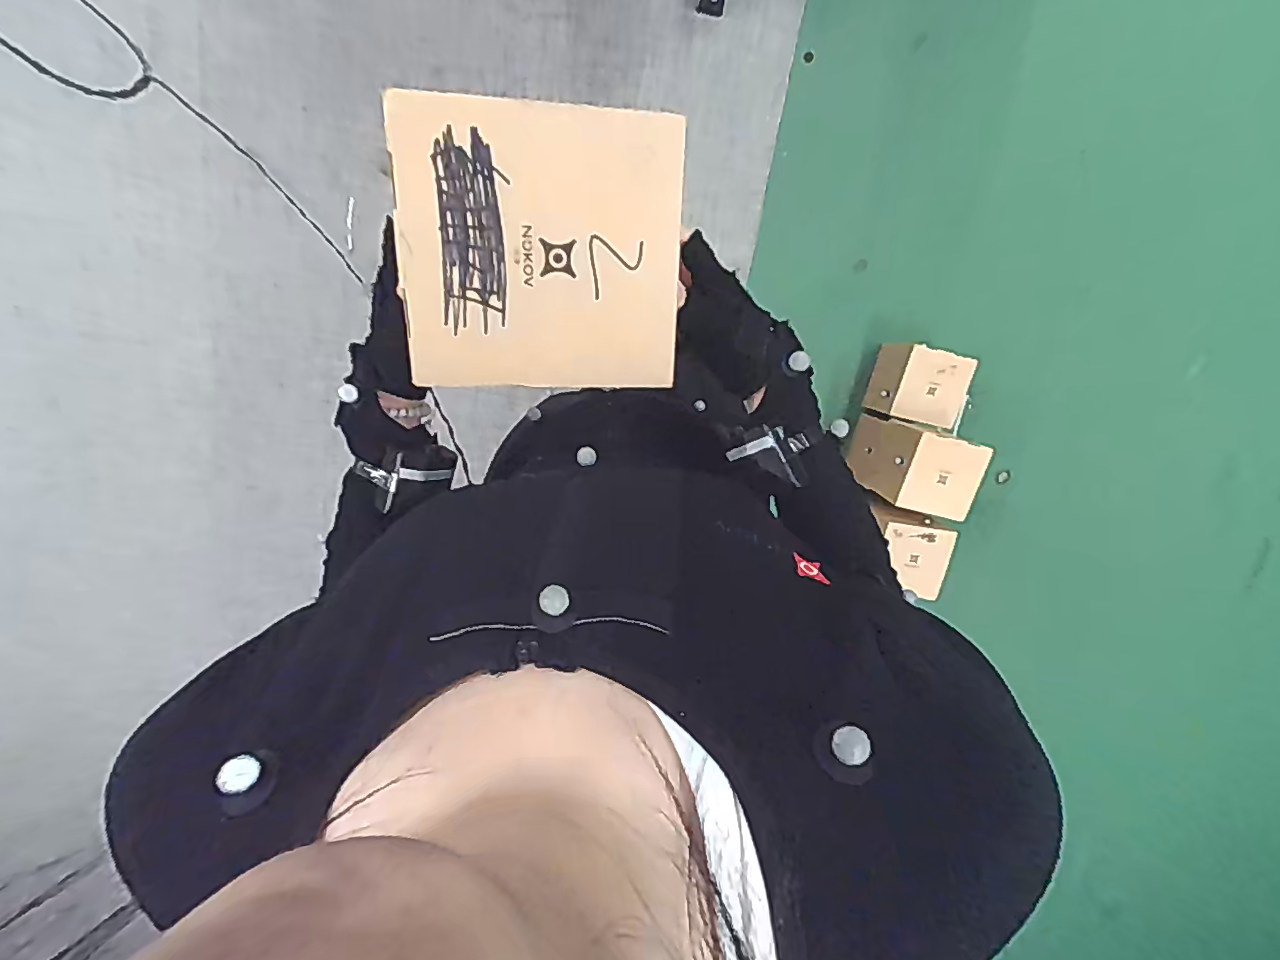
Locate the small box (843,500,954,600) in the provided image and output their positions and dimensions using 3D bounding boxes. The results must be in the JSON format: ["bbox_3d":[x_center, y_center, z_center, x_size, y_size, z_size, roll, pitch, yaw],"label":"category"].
[{"bbox_3d":[0.617,0.166,1.316,0.168,0.176,0.179,9,106,-4],"label":"small box"}]

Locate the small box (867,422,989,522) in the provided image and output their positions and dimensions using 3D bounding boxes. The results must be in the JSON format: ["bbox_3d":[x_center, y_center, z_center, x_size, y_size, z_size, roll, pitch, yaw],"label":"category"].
[{"bbox_3d":[0.661,-0.025,1.268,0.168,0.176,0.179,14,103,-4],"label":"small box"}]
